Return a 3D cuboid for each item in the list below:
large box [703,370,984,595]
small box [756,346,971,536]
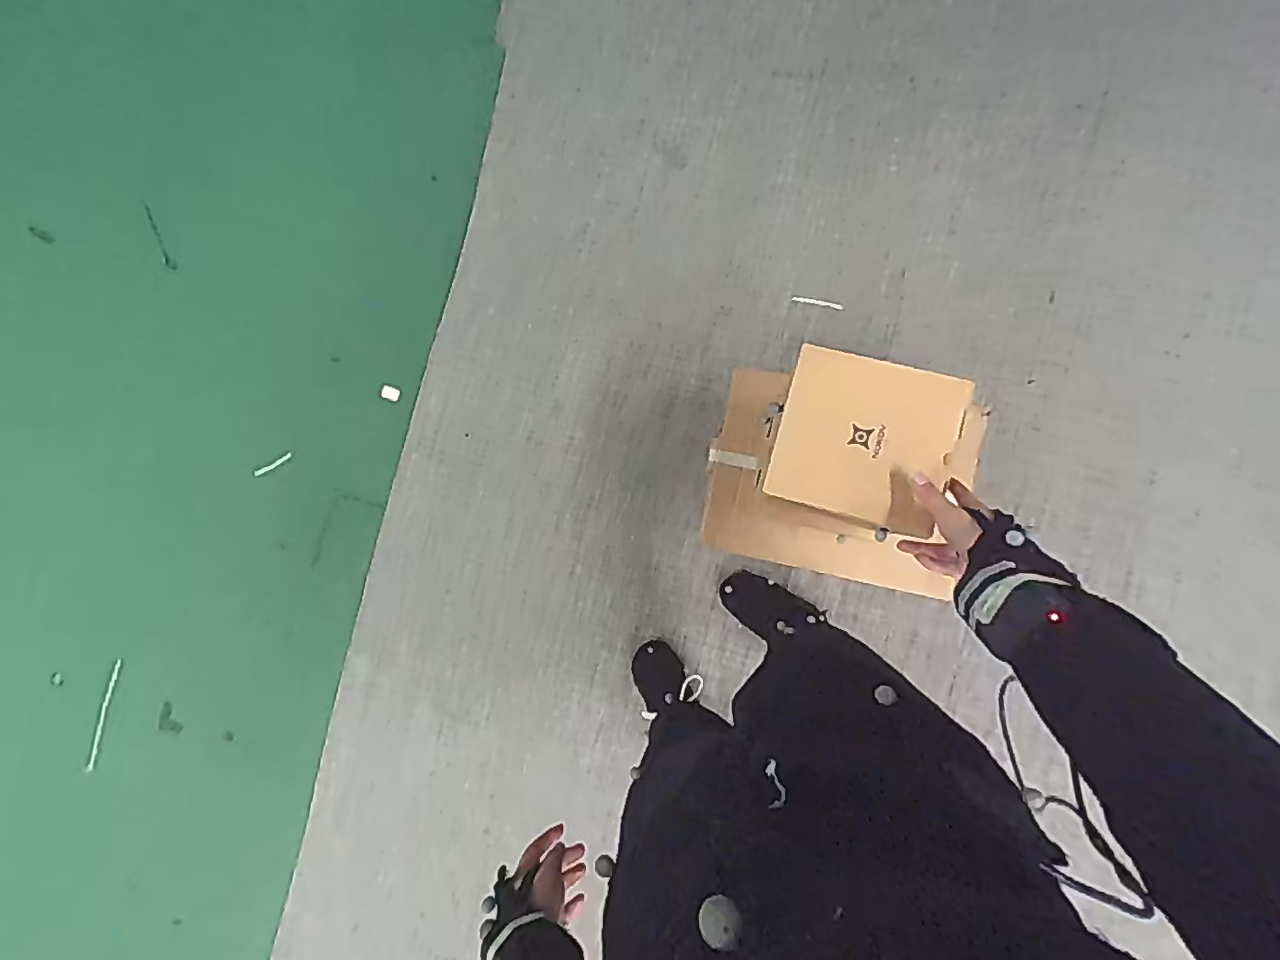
[{"bbox_3d":[0.345,0.005,1.027,0.408,0.320,0.320,11,90,9],"label":"large box"},{"bbox_3d":[0.242,-0.037,0.634,0.179,0.176,0.168,16,89,9],"label":"small box"}]
